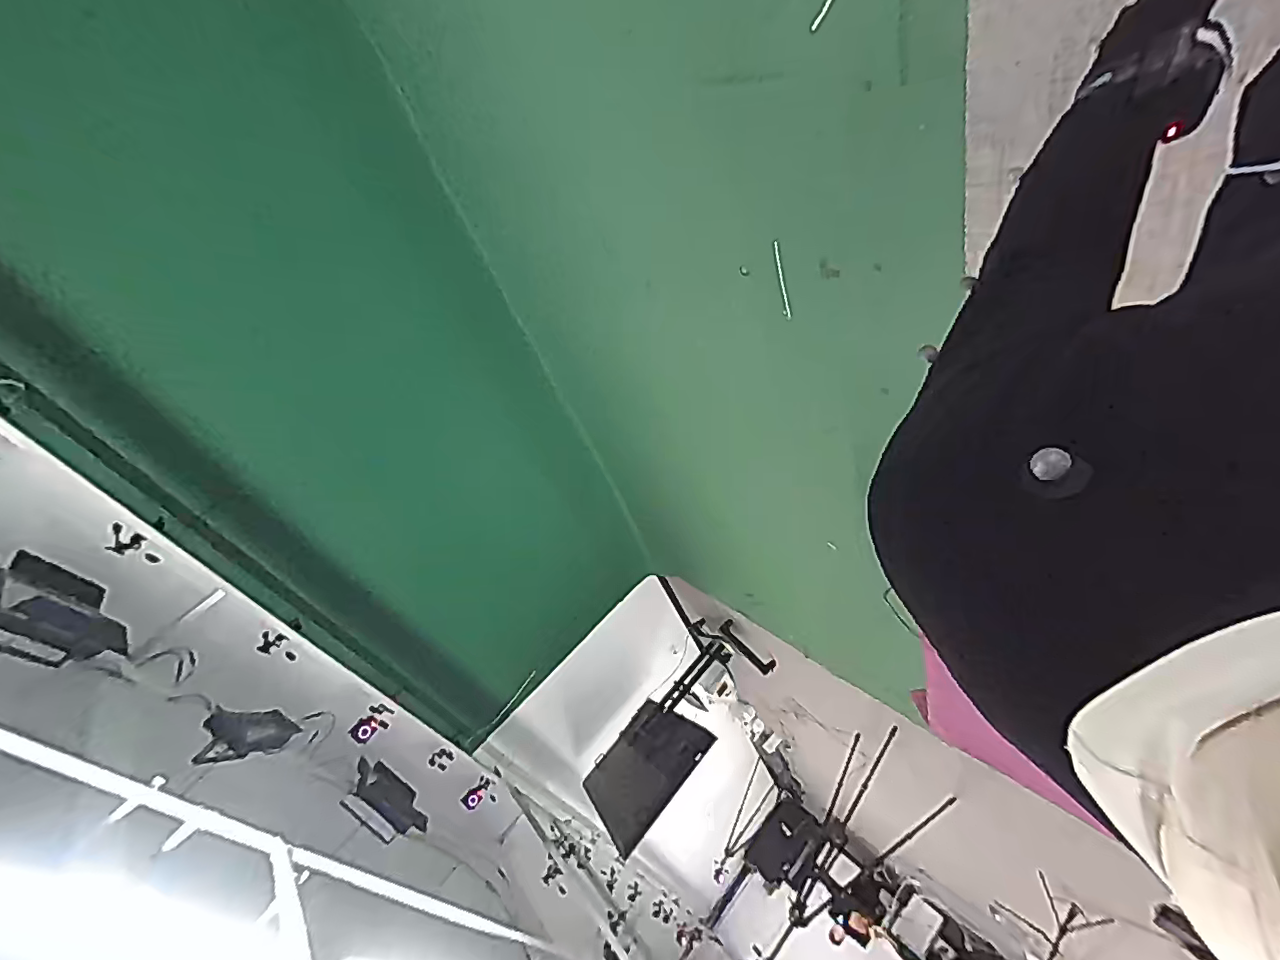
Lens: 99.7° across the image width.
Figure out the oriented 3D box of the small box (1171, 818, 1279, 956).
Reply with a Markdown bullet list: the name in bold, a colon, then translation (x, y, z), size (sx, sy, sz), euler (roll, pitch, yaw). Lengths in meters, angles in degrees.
- **small box**: translation (1.358, 0.917, 1.232), size (0.168, 0.176, 0.179), euler (21, 149, 49)
